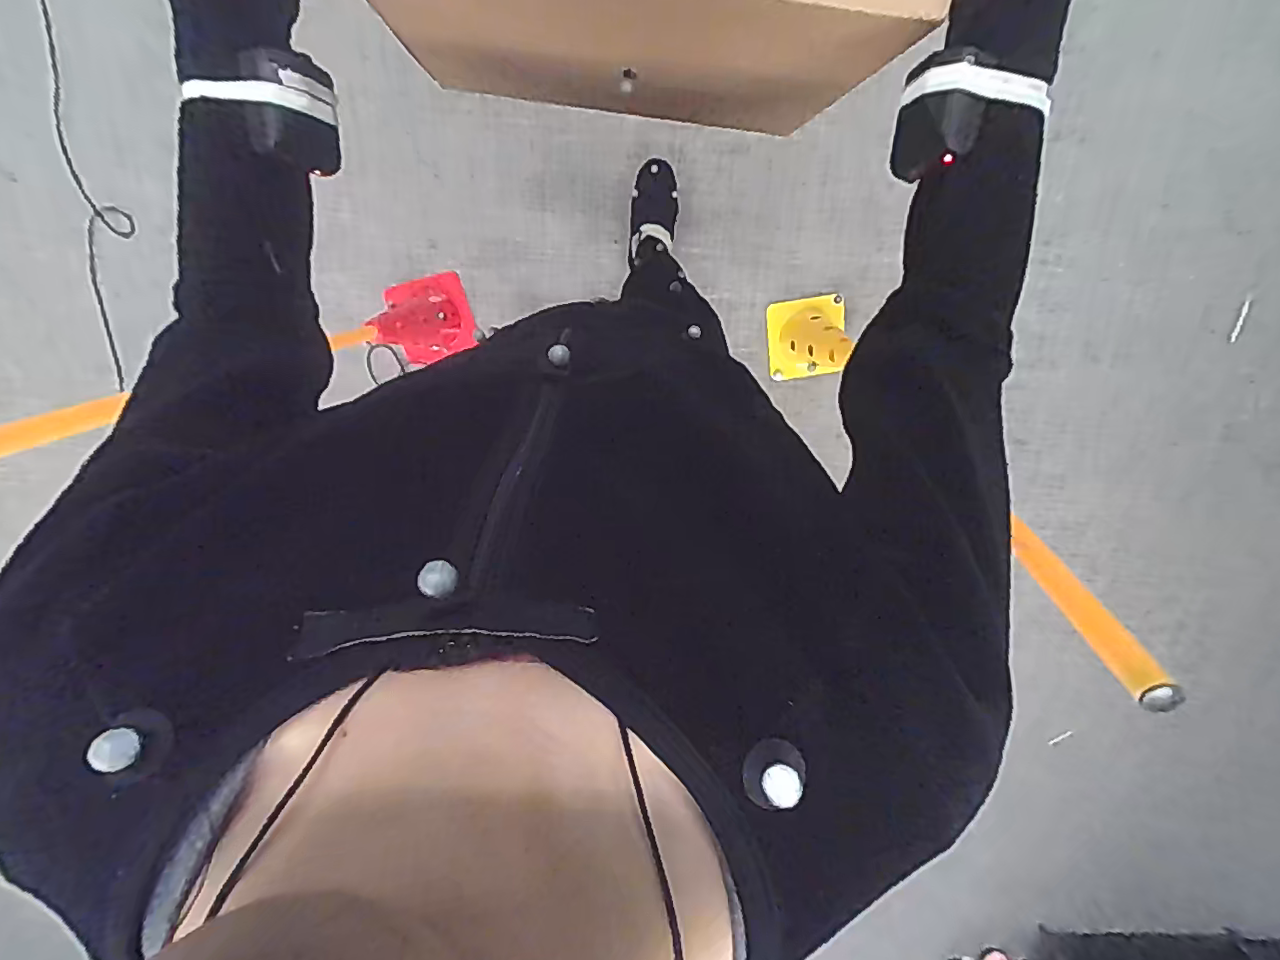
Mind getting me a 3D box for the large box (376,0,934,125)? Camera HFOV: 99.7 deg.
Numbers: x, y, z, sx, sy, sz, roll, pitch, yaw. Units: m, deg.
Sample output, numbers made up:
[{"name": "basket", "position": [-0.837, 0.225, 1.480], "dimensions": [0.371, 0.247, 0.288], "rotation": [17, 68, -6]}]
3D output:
[{"name": "large box", "position": [0.005, -0.516, 0.436], "dimensions": [0.408, 0.320, 0.320], "rotation": [4, 110, -5]}]
